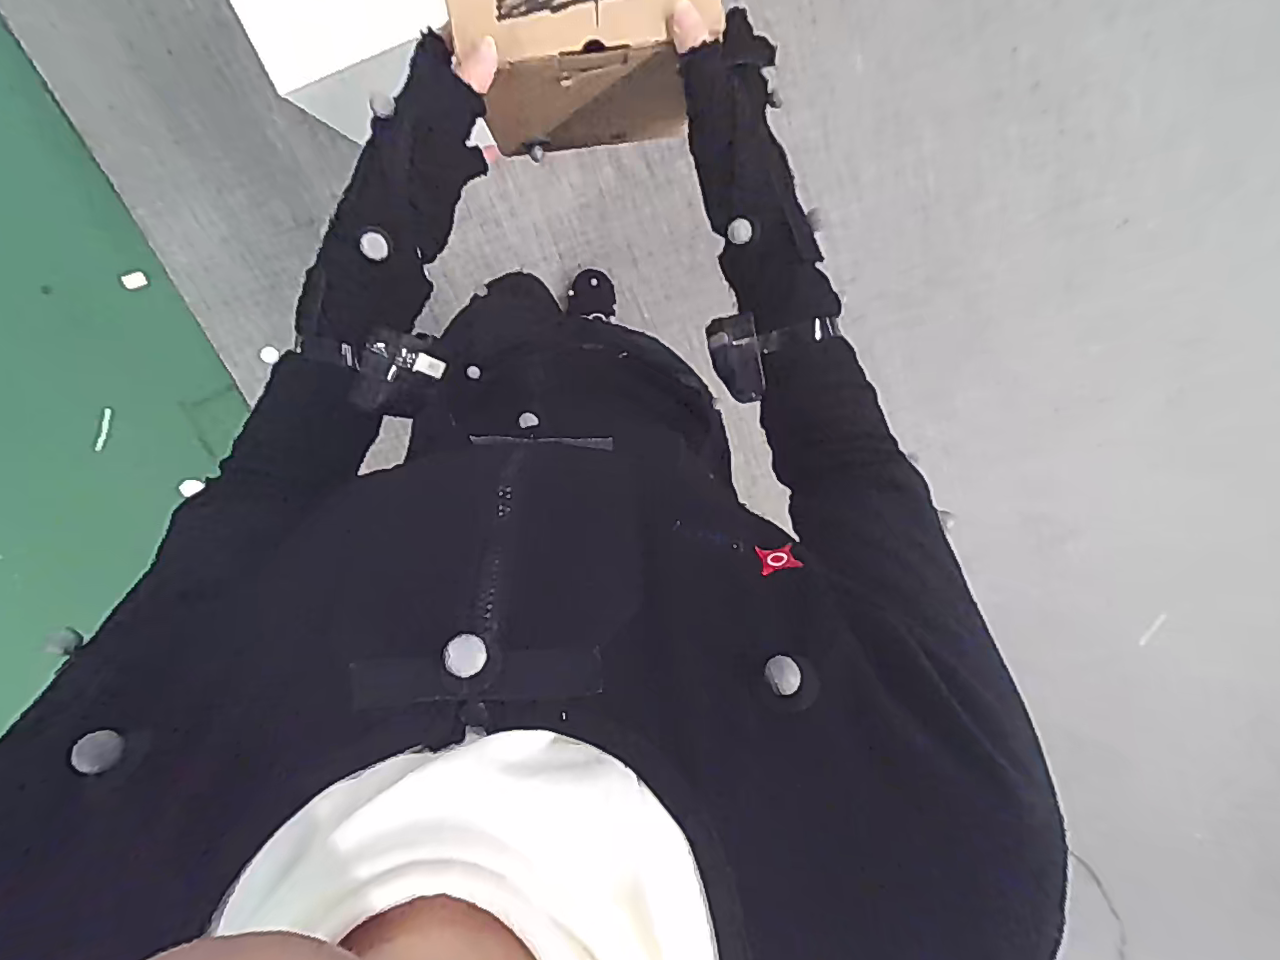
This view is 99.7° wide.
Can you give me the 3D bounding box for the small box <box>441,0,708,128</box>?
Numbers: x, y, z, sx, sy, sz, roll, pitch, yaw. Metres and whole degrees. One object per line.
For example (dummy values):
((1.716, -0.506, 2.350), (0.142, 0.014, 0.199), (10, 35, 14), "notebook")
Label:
((-0.052, -0.378, 0.386), (0.168, 0.176, 0.179), (-9, 103, -2), "small box")
